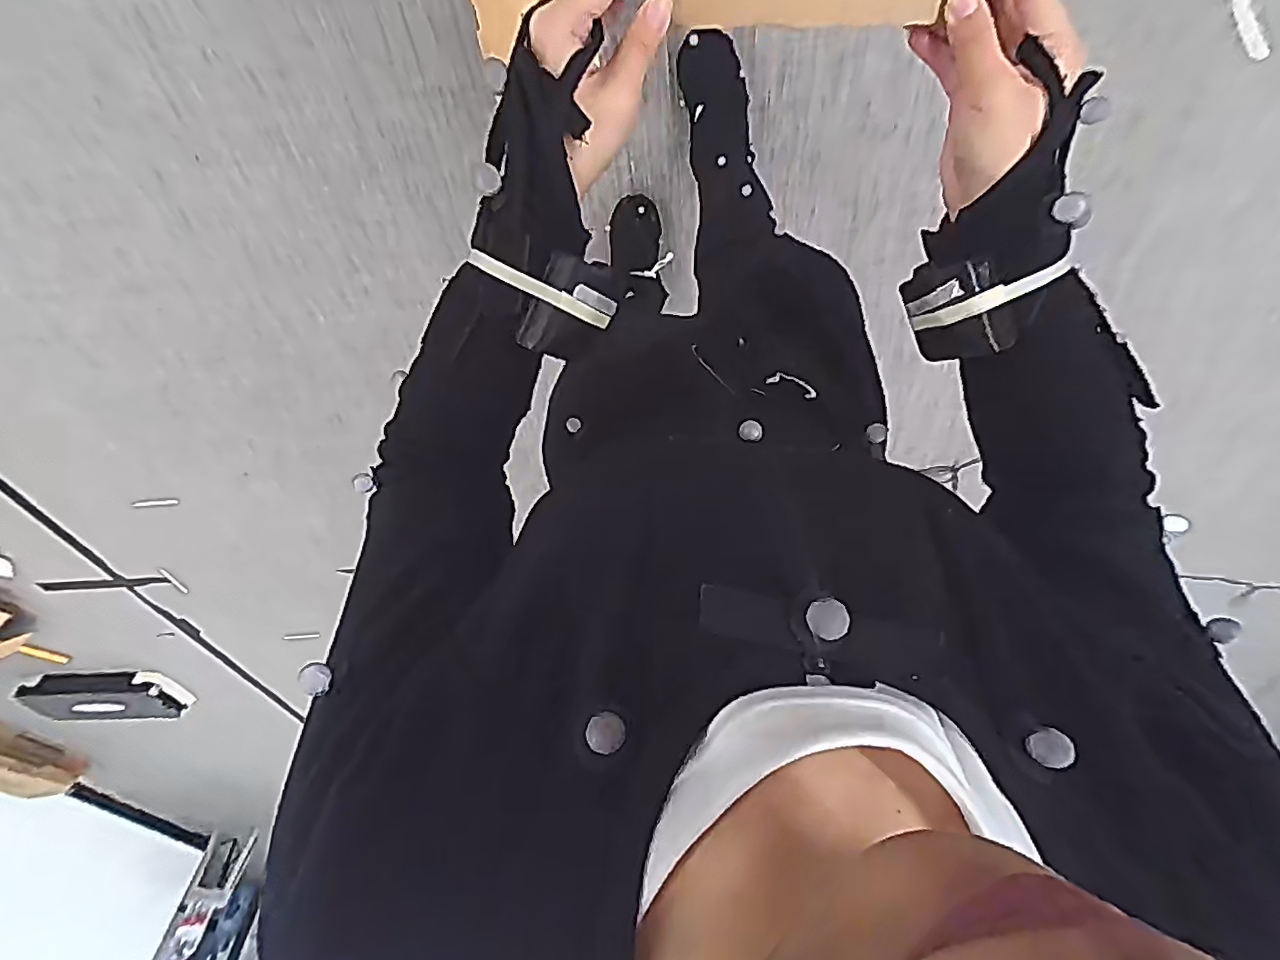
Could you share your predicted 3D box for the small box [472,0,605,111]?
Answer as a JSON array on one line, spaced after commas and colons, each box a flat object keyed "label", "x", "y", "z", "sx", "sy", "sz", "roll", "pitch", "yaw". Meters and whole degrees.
[{"label": "small box", "x": -0.154, "y": -0.725, "z": 0.880, "sx": 0.179, "sy": 0.176, "sz": 0.168, "roll": -5, "pitch": 133, "yaw": 5}]
